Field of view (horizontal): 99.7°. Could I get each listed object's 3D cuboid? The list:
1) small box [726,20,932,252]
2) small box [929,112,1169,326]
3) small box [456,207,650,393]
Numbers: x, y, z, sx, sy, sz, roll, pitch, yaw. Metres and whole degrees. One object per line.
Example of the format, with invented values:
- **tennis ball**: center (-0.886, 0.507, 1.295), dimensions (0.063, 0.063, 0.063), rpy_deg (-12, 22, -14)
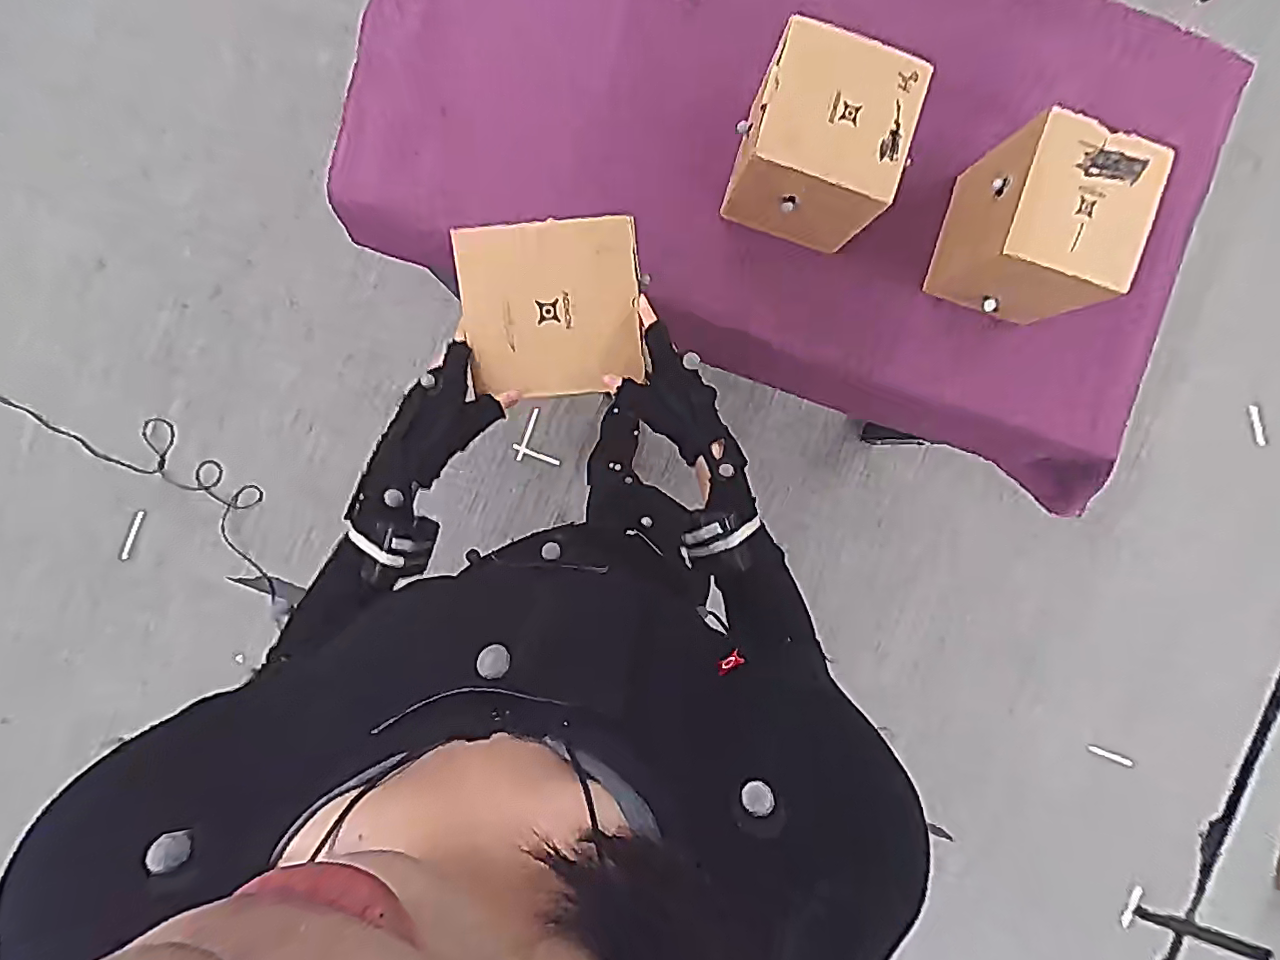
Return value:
- **small box**: center (0.225, -0.420, 0.694), dimensions (0.179, 0.176, 0.168), rpy_deg (17, 91, -4)
- **small box**: center (0.520, -0.328, 0.716), dimensions (0.168, 0.176, 0.179), rpy_deg (17, 92, -4)
- **small box**: center (-0.085, -0.187, 0.605), dimensions (0.179, 0.176, 0.168), rpy_deg (-5, 99, 0)
